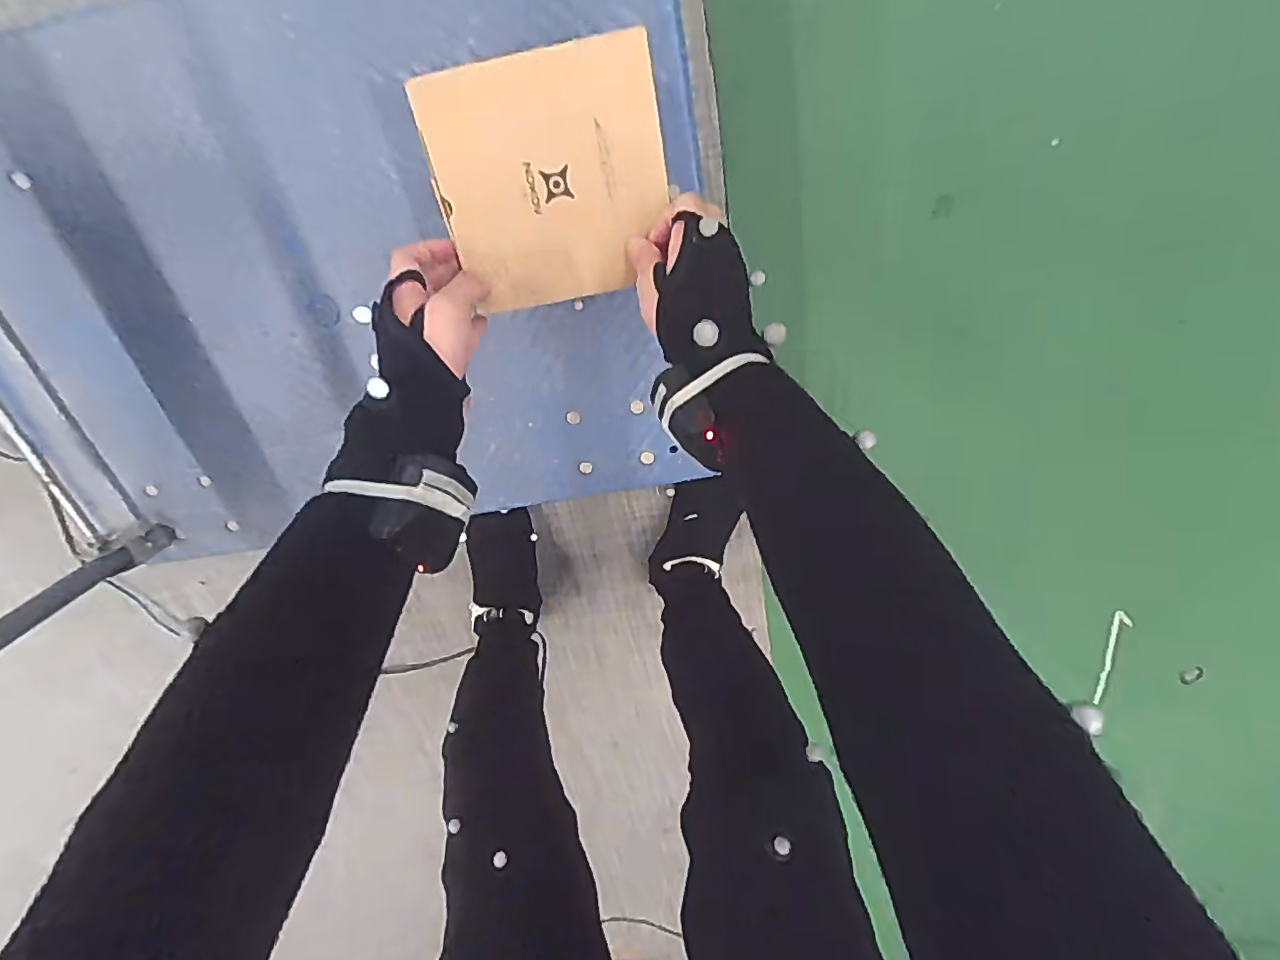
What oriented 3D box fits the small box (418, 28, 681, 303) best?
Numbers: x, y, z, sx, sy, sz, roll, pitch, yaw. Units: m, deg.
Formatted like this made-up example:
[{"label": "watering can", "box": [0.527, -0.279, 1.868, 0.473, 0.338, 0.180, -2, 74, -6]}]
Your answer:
[{"label": "small box", "box": [-0.062, -0.263, 0.483, 0.179, 0.176, 0.168, -8, 116, 3]}]
